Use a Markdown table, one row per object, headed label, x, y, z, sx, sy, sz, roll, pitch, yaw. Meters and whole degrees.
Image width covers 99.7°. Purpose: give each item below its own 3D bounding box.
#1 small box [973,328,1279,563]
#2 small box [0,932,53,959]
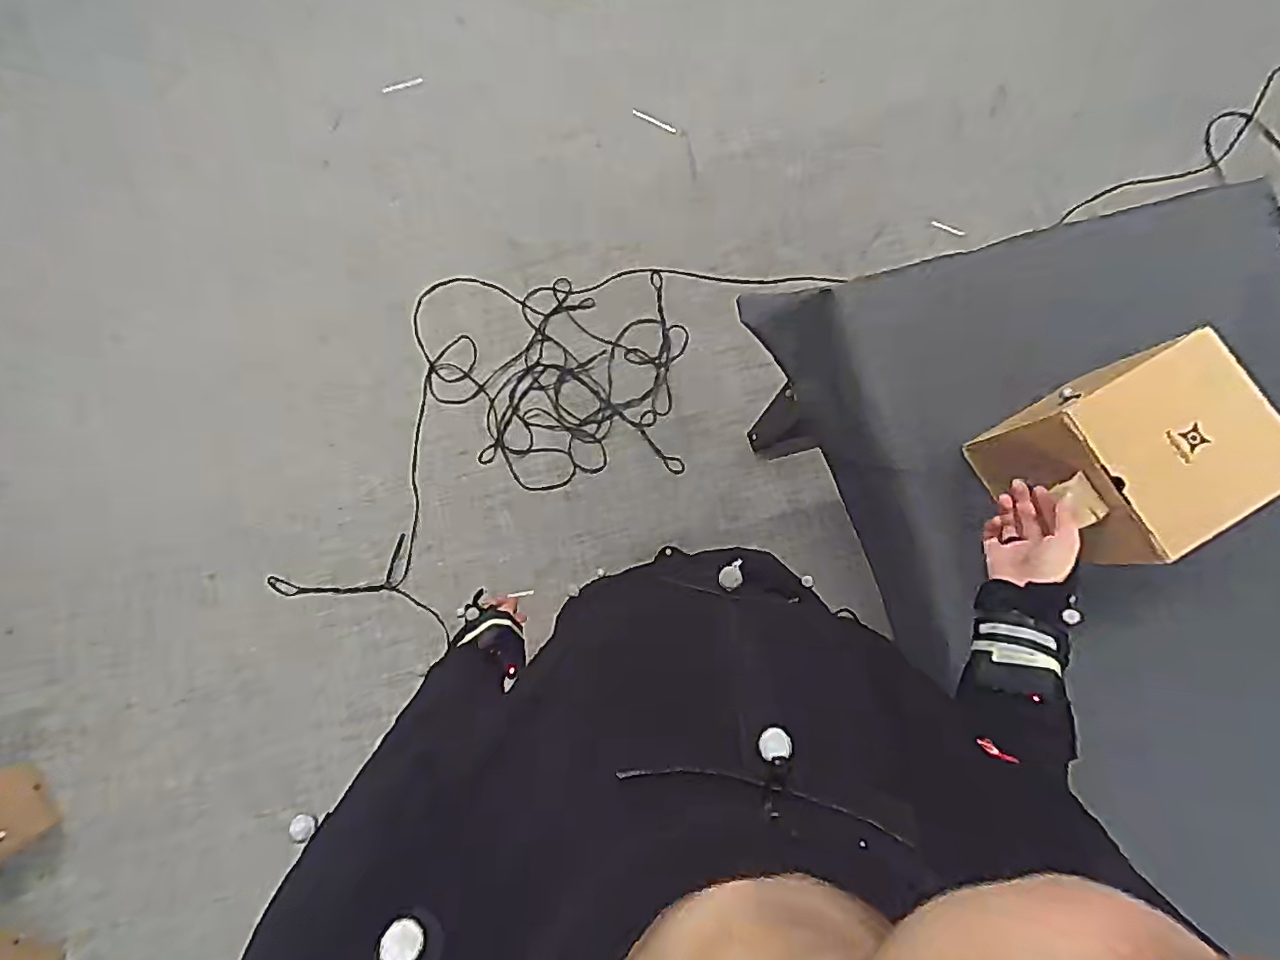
| label | x | y | z | sx | sy | sz | roll | pitch | yaw |
| --- | --- | --- | --- | --- | --- | --- | --- | --- | --- |
| small box | 0.513 | -0.026 | 0.579 | 0.179 | 0.176 | 0.168 | -30 | 83 | -3 |
| small box | -1.432 | 1.136 | 1.161 | 0.168 | 0.176 | 0.179 | 21 | 83 | 5 |
